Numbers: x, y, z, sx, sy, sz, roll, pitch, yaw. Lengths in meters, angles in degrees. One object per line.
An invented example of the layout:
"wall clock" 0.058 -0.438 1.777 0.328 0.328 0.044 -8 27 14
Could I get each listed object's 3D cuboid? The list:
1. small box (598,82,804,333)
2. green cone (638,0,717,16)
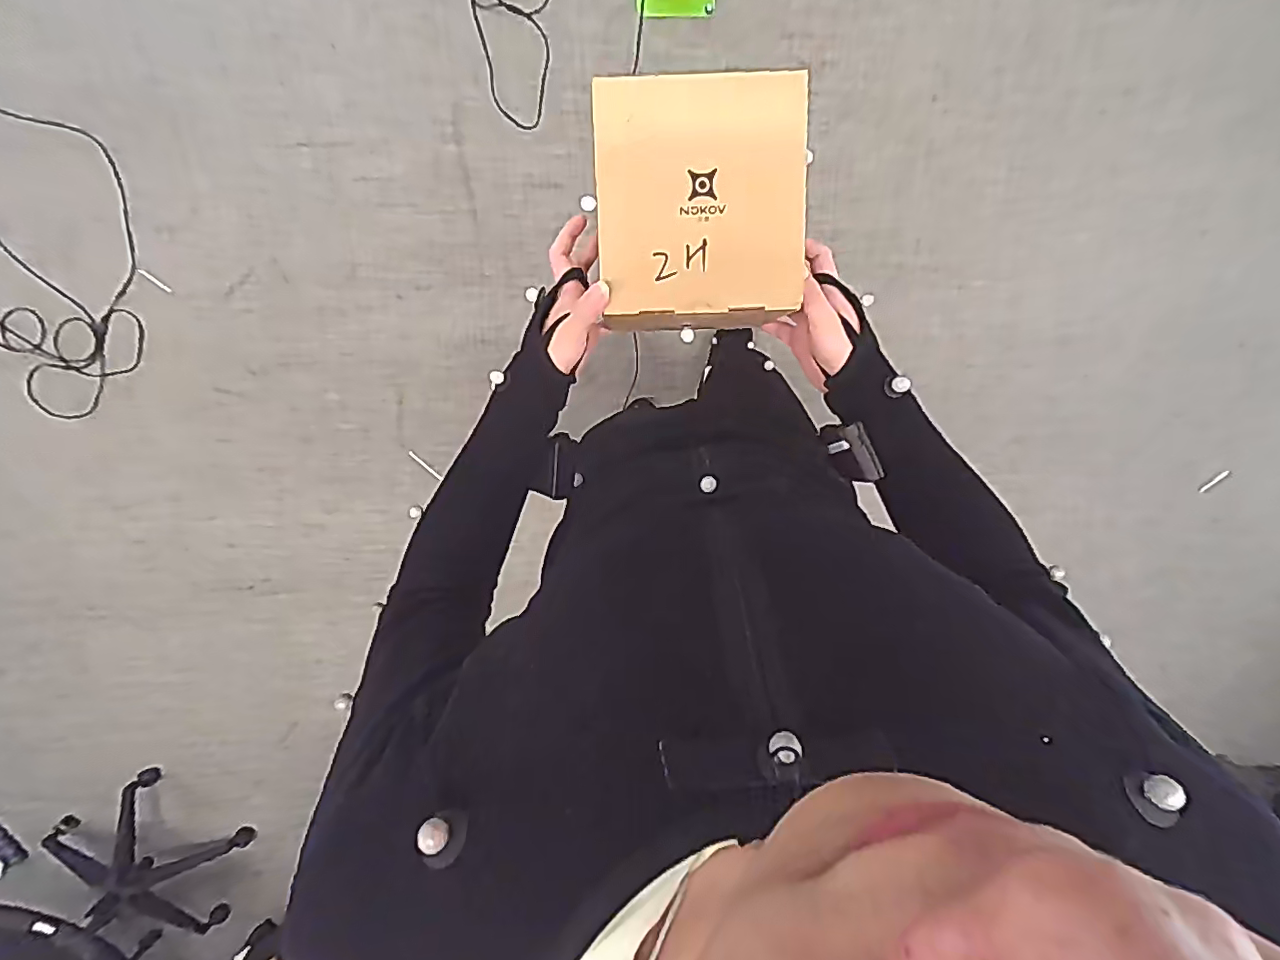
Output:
"small box" 0.047 -0.238 0.514 0.168 0.176 0.179 -1 101 0
"green cone" 0.094 -1.246 1.186 0.202 0.368 0.200 -1 101 0
